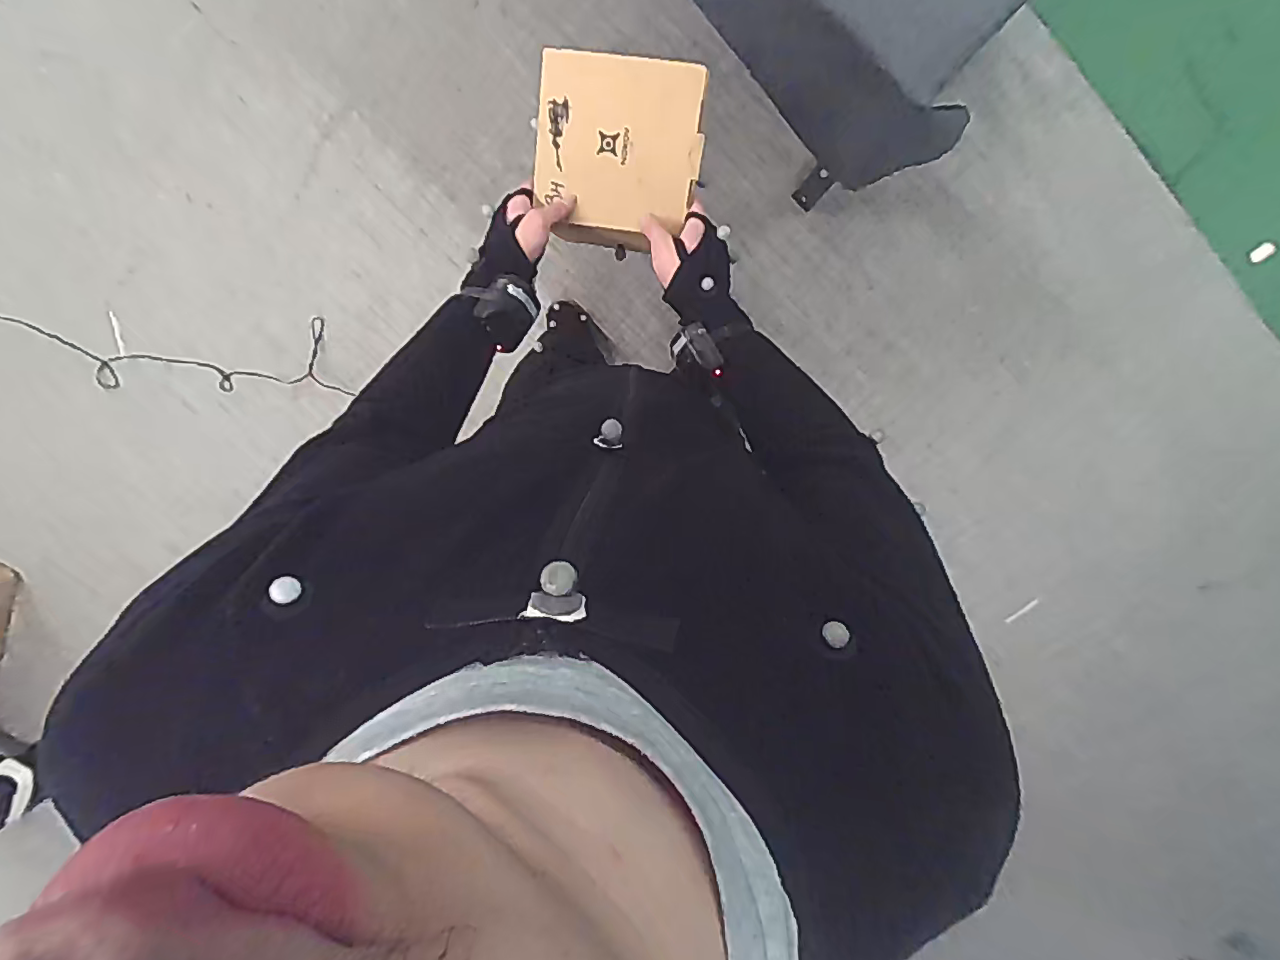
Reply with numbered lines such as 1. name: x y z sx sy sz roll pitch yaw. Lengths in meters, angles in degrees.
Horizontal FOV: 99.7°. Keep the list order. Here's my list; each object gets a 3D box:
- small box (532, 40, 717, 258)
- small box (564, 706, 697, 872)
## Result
1. small box: -0.018 -0.367 0.635 0.179 0.176 0.168 8 104 -1
2. small box: -0.015 0.565 1.010 0.168 0.176 0.179 44 103 -8
